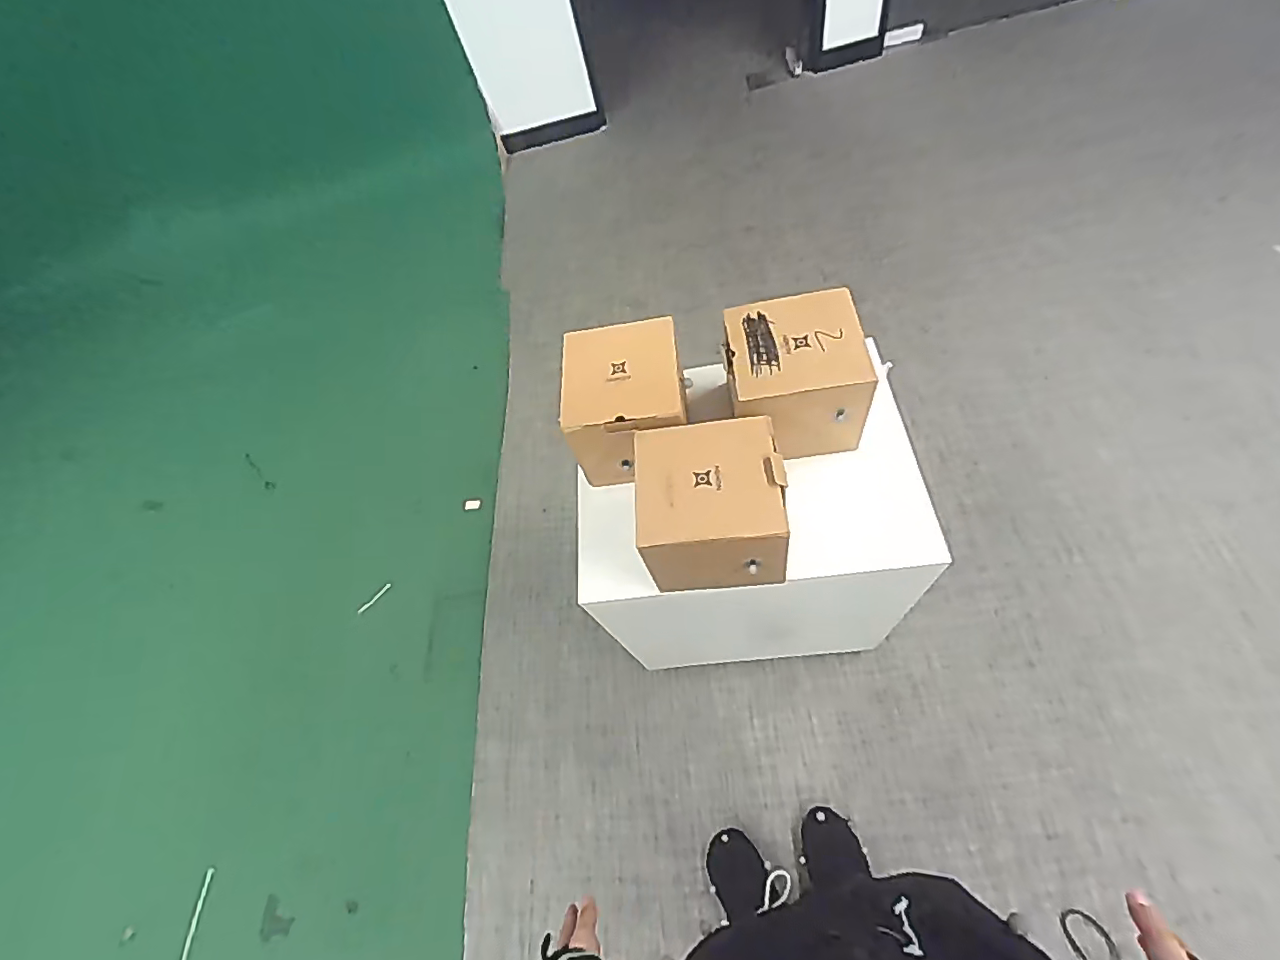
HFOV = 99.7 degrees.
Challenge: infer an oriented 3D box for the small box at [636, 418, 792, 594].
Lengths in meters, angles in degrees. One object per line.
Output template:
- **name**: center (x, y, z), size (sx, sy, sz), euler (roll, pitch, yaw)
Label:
- **small box**: center (0.097, 0.042, 0.711), size (0.179, 0.176, 0.168), euler (-7, 58, 10)

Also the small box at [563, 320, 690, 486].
- **small box**: center (-0.013, -0.111, 0.821), size (0.168, 0.176, 0.179), euler (-7, 61, 7)
